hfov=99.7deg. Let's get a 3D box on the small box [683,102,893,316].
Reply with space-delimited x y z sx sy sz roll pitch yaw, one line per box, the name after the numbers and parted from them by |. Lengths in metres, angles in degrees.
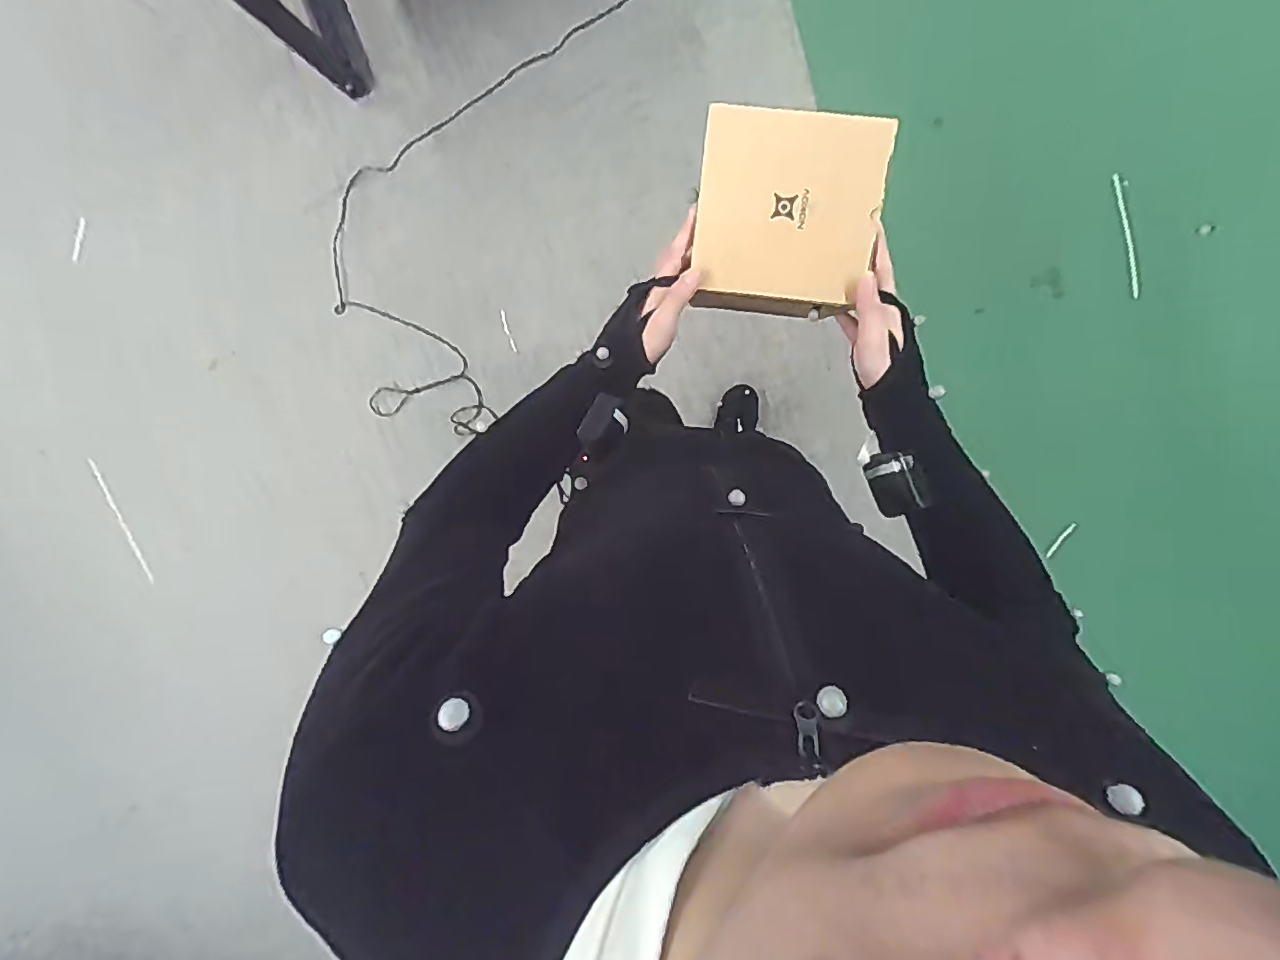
0.141 -0.276 0.587 0.179 0.176 0.168 6 102 2 | small box
